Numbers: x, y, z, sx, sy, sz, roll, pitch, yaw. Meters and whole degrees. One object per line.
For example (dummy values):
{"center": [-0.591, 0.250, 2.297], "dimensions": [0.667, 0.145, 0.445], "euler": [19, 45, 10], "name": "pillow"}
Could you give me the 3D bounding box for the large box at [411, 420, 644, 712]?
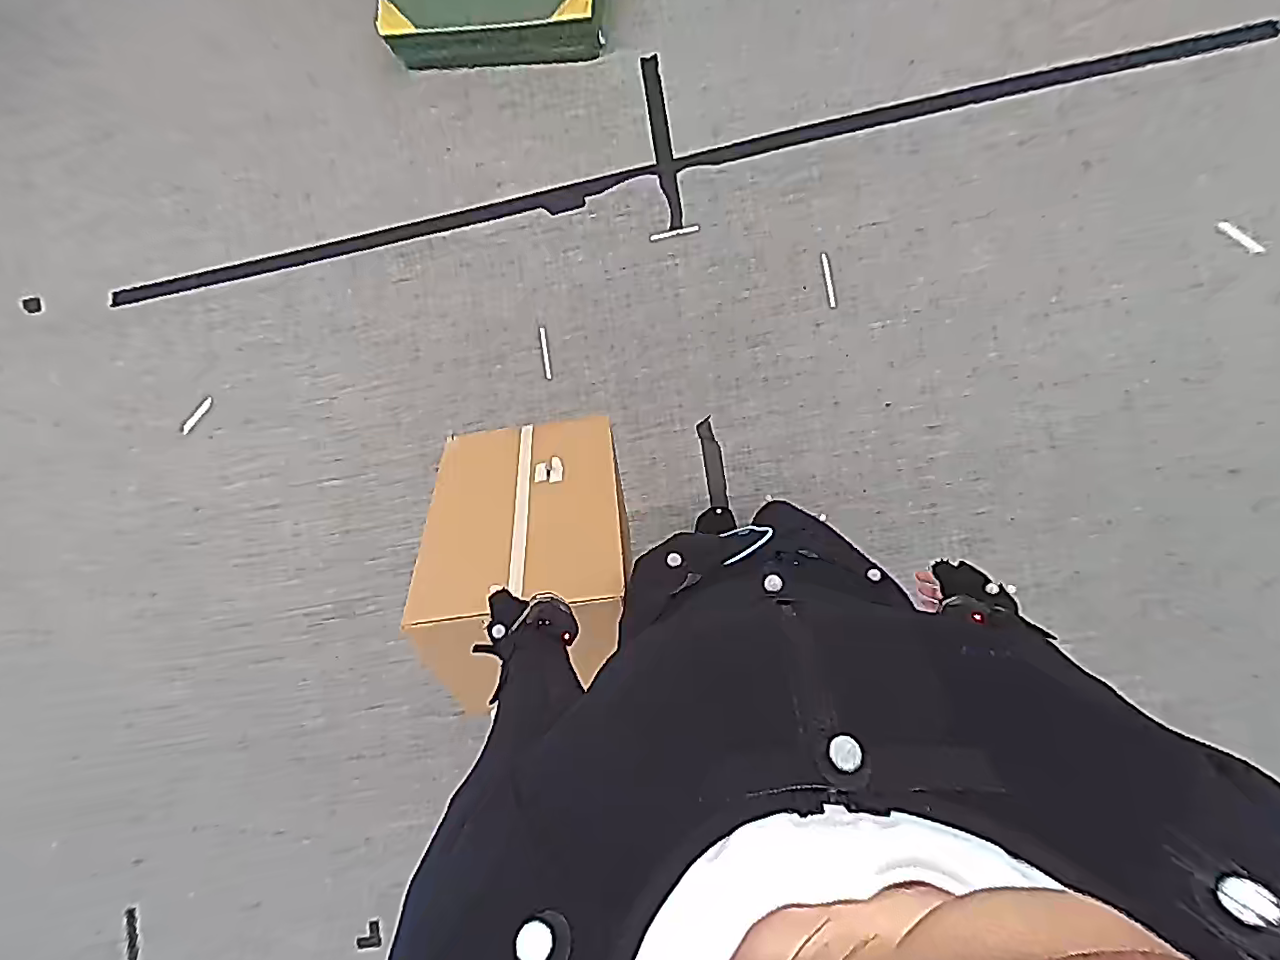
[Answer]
{"center": [-0.176, 0.148, 0.989], "dimensions": [0.320, 0.320, 0.408], "euler": [-6, 44, -1], "name": "large box"}
